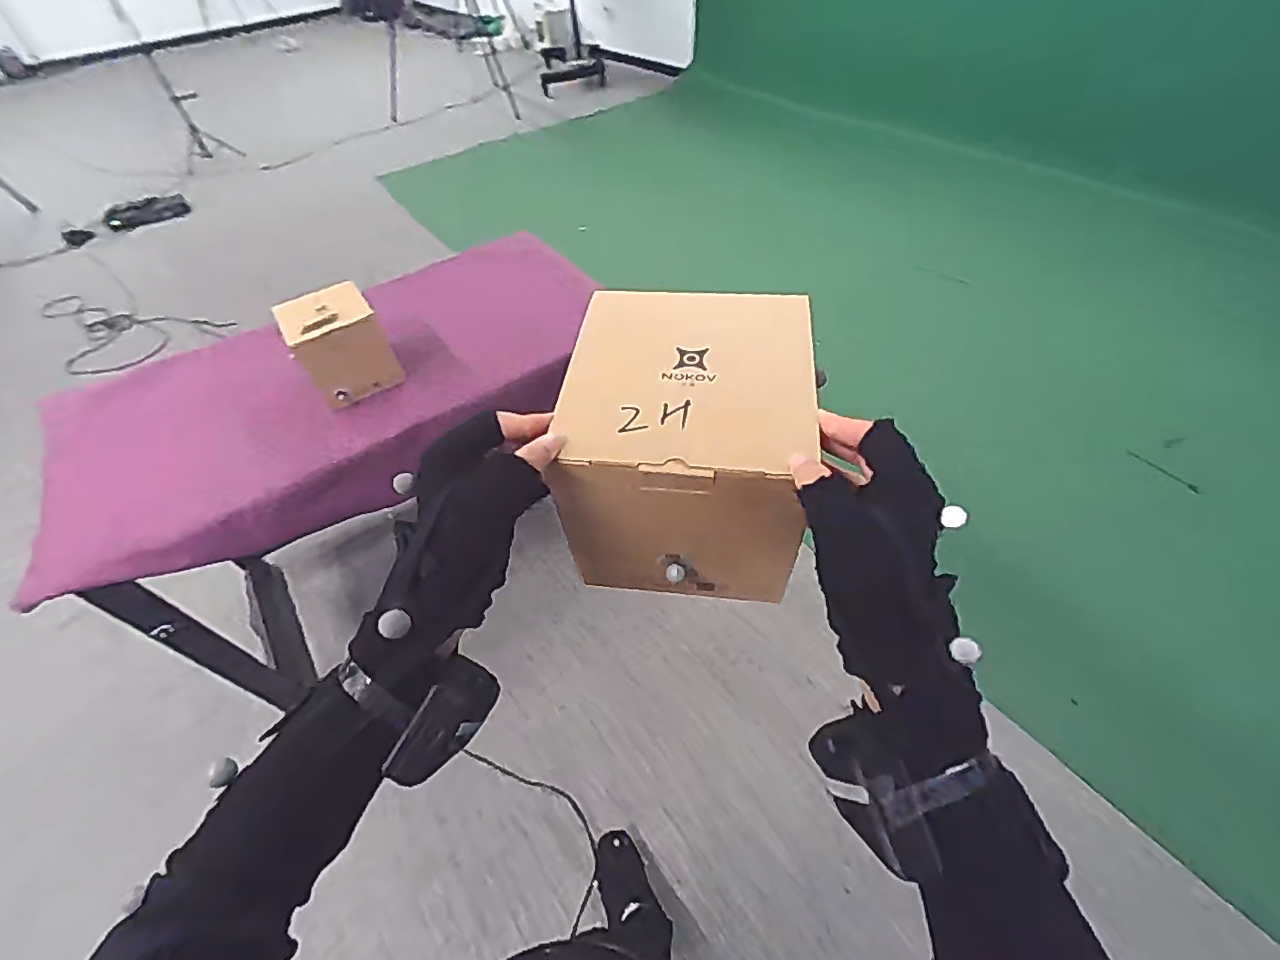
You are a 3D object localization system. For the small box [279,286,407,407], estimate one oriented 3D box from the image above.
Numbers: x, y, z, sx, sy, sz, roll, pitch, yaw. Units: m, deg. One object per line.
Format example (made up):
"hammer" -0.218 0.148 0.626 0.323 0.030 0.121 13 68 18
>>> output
"small box" -0.626 -0.277 1.153 0.168 0.176 0.179 -29 53 -19

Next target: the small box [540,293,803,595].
"small box" 0.033 -0.029 0.440 0.168 0.176 0.179 3 53 8
